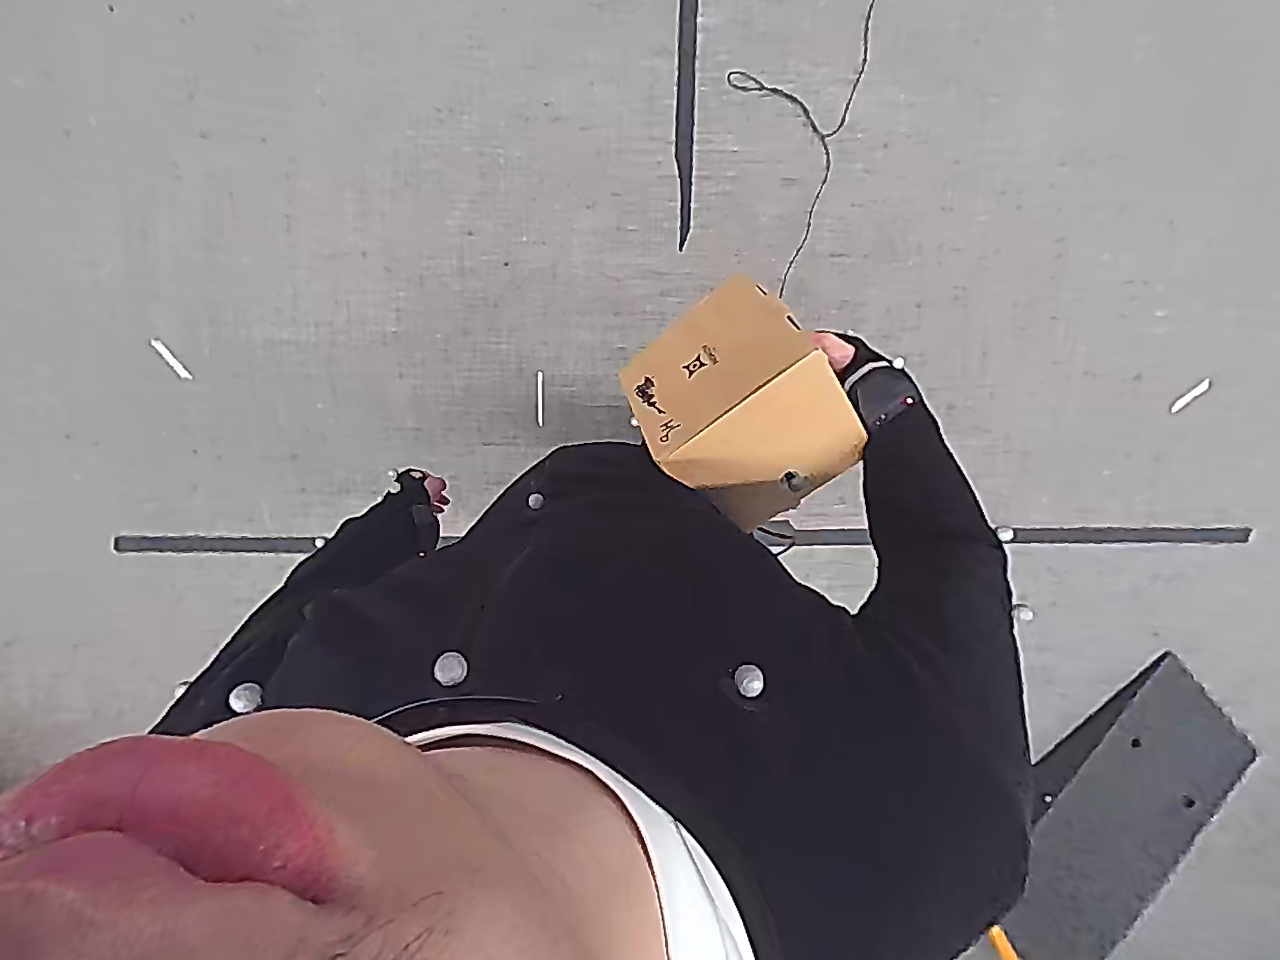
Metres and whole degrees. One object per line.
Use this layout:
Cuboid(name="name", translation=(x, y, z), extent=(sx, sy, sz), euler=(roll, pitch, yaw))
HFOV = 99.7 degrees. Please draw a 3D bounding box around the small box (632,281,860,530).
Cuboid(name="small box", translation=(0.121, -0.077, 0.604), extent=(0.179, 0.168, 0.176), euler=(-35, 132, 15))
